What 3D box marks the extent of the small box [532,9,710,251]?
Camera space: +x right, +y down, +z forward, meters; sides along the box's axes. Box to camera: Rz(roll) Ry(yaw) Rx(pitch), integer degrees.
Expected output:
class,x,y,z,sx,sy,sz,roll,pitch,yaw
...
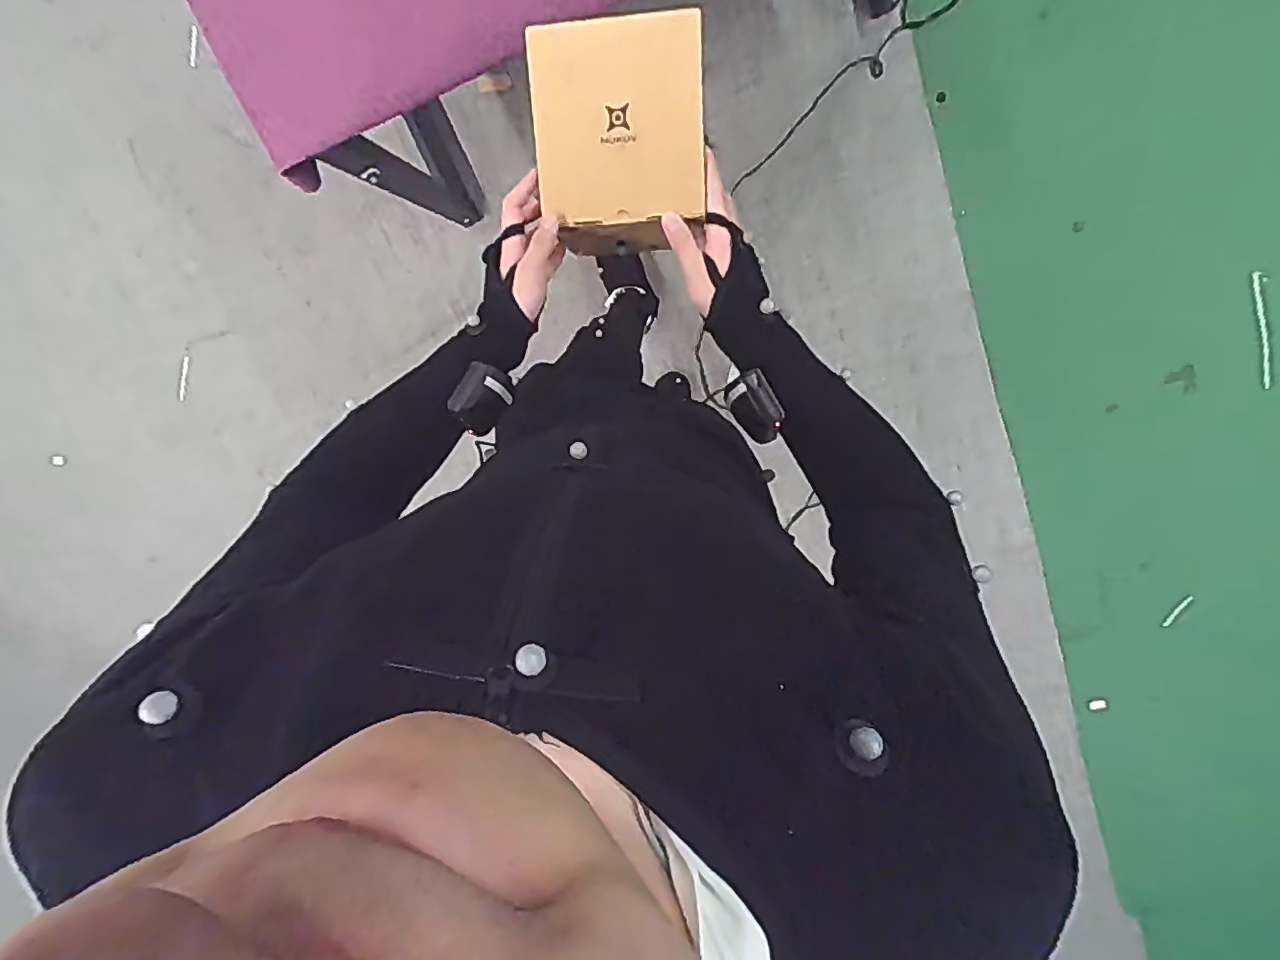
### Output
class,x,y,z,sx,sy,sz,roll,pitch,yaw
small box,-0.012,-0.364,0.596,0.168,0.176,0.179,-2,105,5
